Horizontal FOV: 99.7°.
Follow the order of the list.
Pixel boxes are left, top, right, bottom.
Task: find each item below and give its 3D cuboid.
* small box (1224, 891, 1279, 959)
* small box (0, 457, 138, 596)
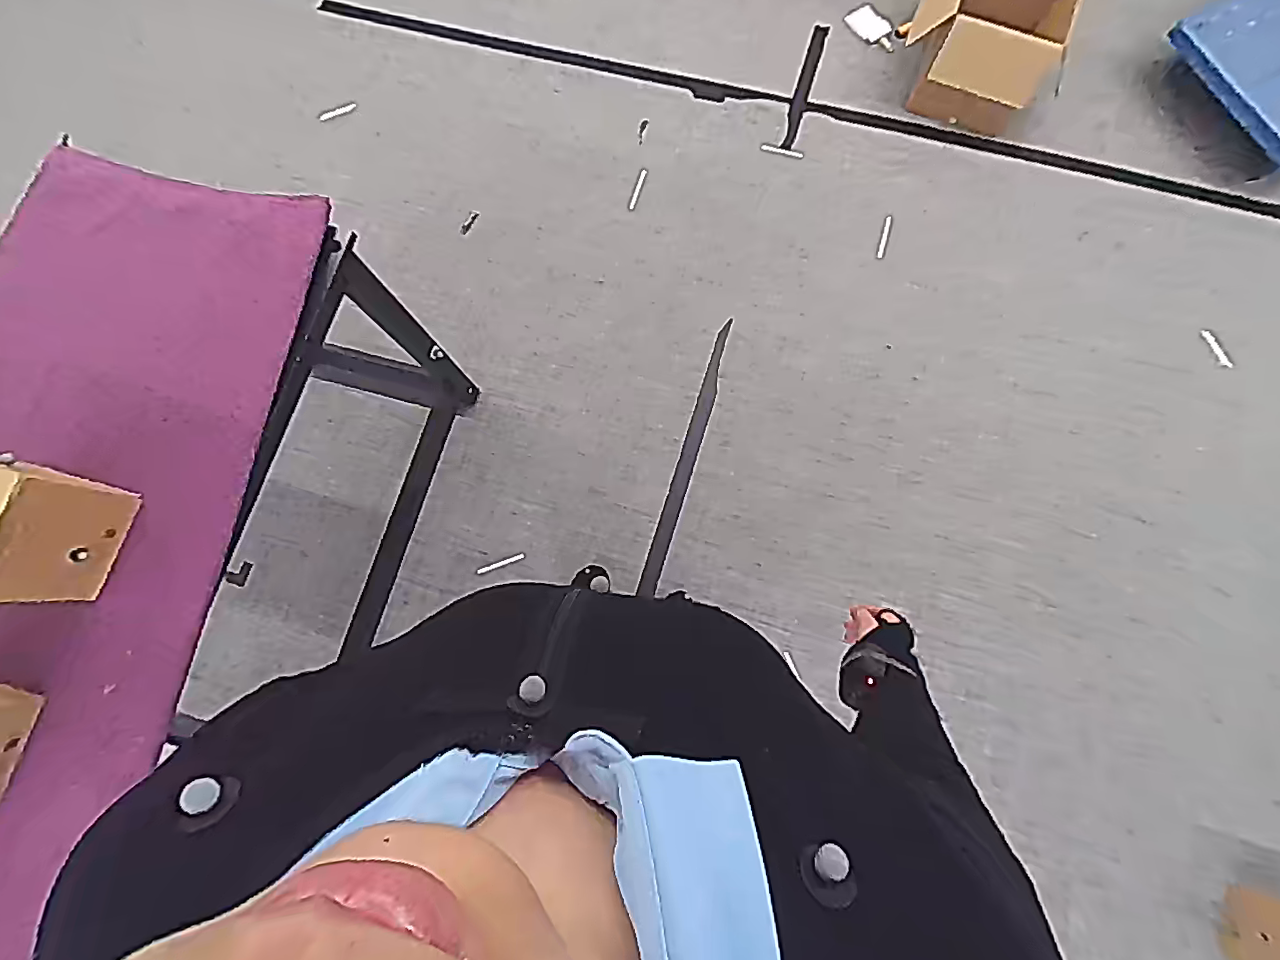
[{"bbox_3d":[1.492,1.075,1.218,0.179,0.176,0.168,19,79,5],"label":"small box"},{"bbox_3d":[-0.877,0.061,0.749,0.179,0.176,0.168,15,79,4],"label":"small box"}]
